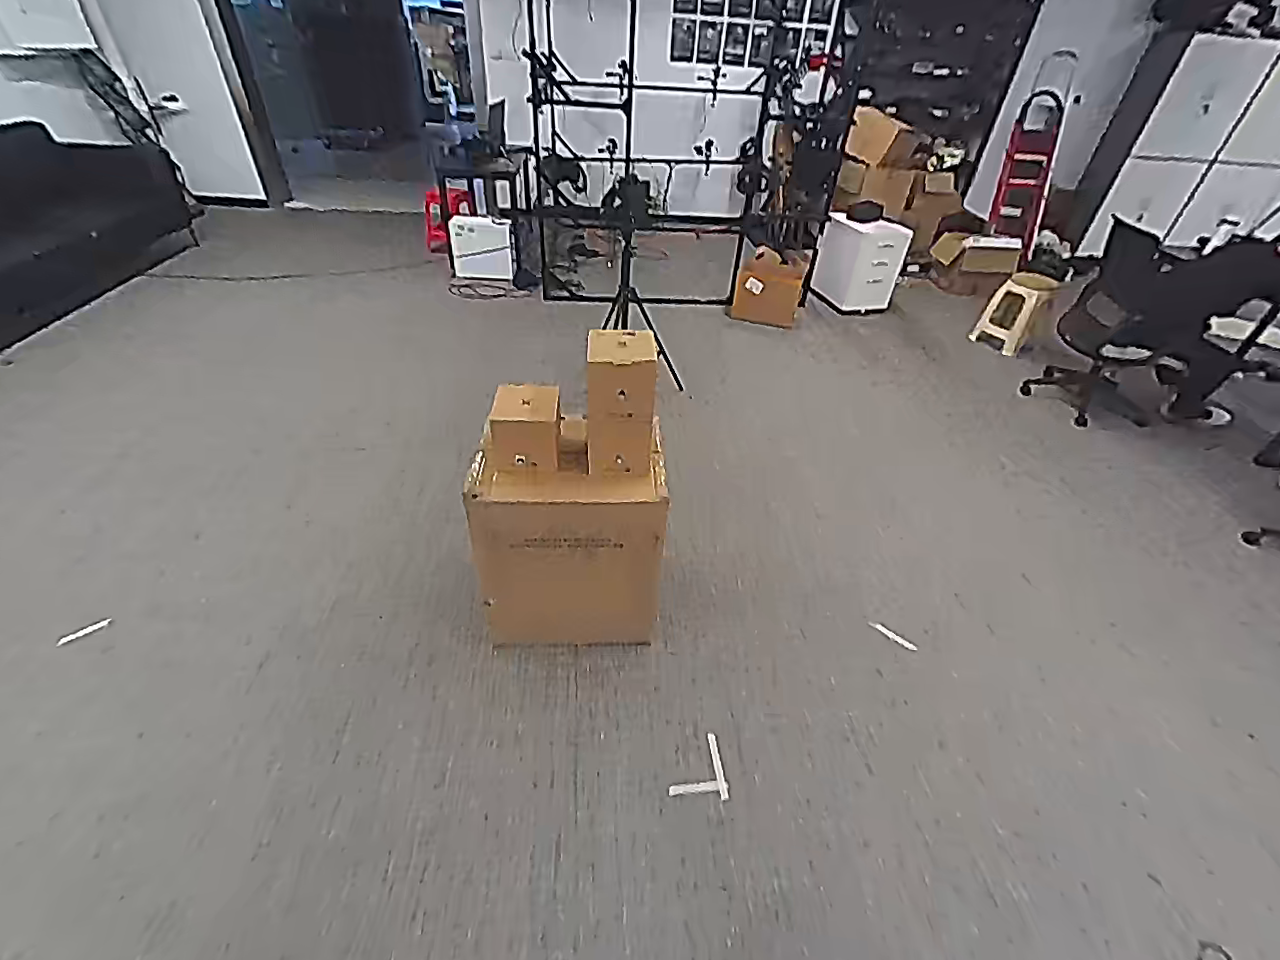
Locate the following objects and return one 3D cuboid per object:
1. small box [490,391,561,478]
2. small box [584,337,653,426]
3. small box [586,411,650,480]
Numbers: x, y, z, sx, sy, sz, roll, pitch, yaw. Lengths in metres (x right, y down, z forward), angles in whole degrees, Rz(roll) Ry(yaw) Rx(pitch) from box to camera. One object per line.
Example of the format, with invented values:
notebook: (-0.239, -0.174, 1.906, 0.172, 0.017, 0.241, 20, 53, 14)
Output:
small box: (-0.302, -0.124, 1.457, 0.168, 0.176, 0.179, -1, 40, -5)
small box: (-0.053, -0.248, 1.367, 0.168, 0.176, 0.179, 0, 39, -3)
small box: (-0.063, -0.118, 1.466, 0.168, 0.176, 0.179, -1, 39, -4)
